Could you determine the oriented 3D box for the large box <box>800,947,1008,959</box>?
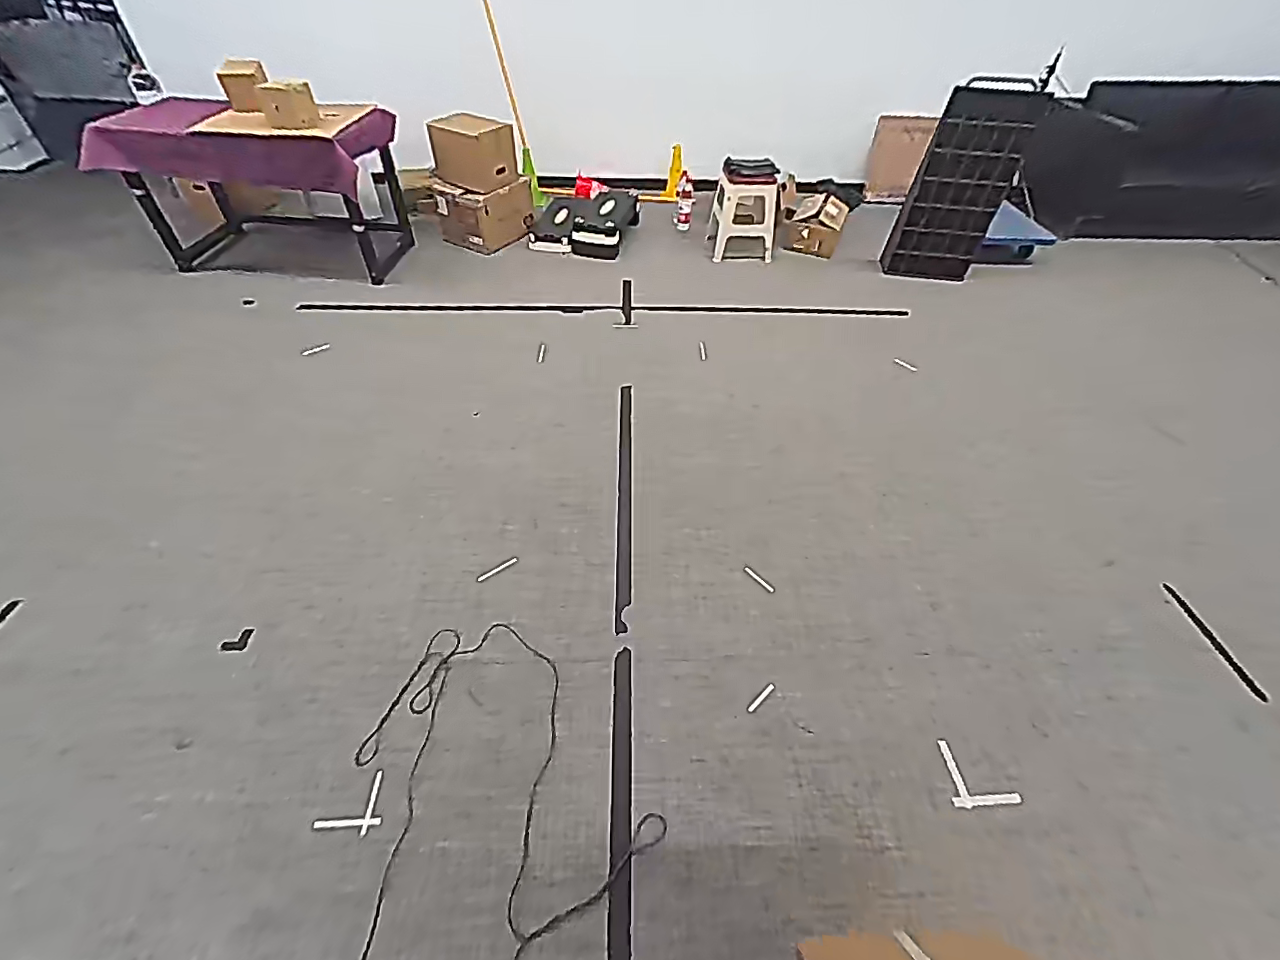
[{"bbox_3d":[0.395,0.801,0.581,0.320,0.408,0.320,0,76,-3],"label":"large box"}]
